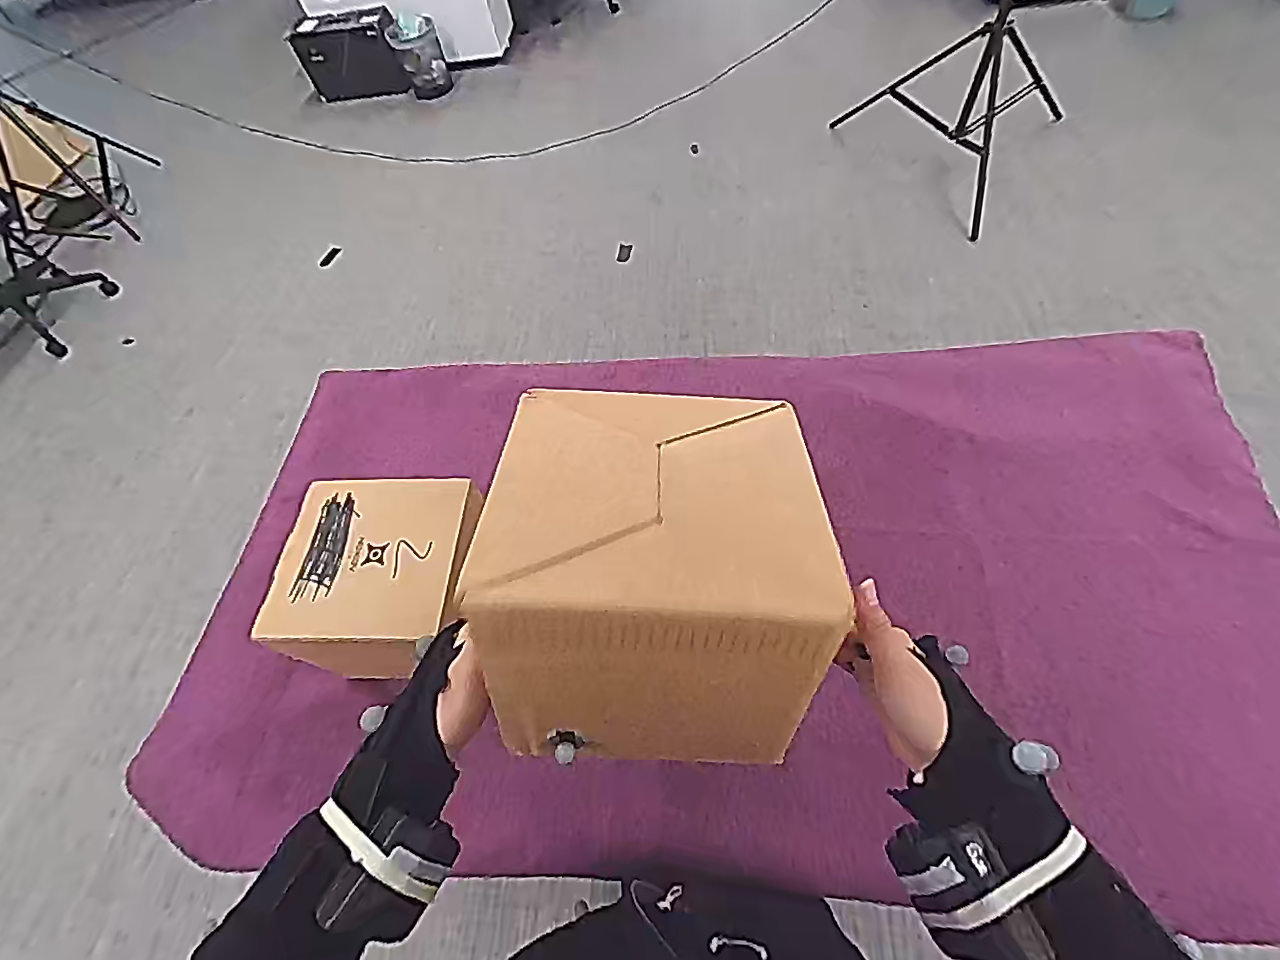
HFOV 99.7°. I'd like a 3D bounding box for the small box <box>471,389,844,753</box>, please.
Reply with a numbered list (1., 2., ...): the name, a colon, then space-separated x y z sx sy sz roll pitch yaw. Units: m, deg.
1. small box: 0.009 0.054 0.345 0.179 0.176 0.168 3 39 -1
